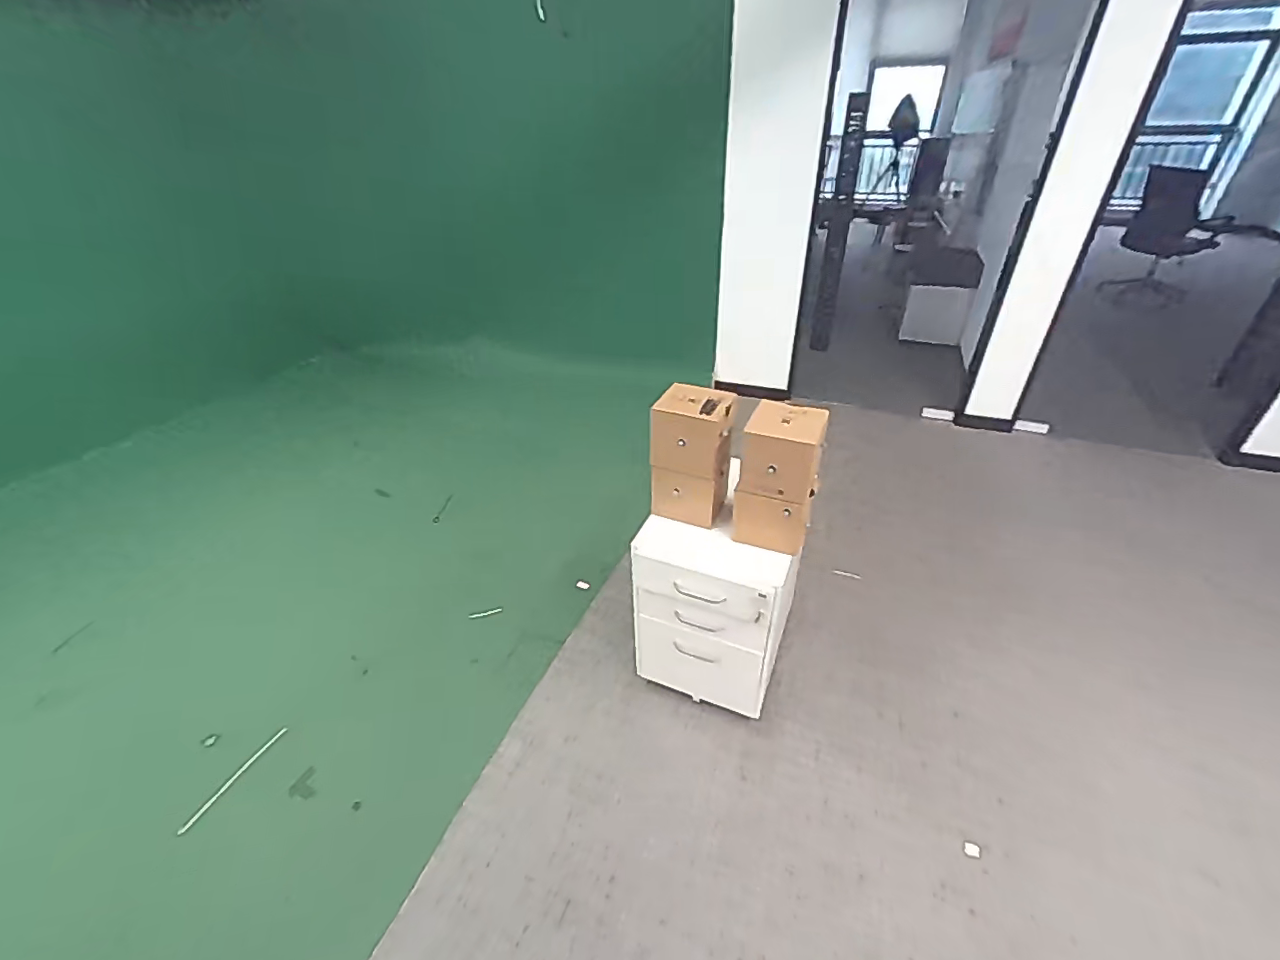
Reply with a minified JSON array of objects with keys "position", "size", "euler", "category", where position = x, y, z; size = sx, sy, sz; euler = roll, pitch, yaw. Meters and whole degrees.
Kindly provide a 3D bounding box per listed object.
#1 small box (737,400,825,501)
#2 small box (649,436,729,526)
[{"position":[0.336,-0.072,1.306],"size":[0.168,0.176,0.179],"euler":[14,37,21],"category":"small box"},{"position":[0.134,0.003,1.493],"size":[0.179,0.176,0.168],"euler":[14,38,19],"category":"small box"}]
